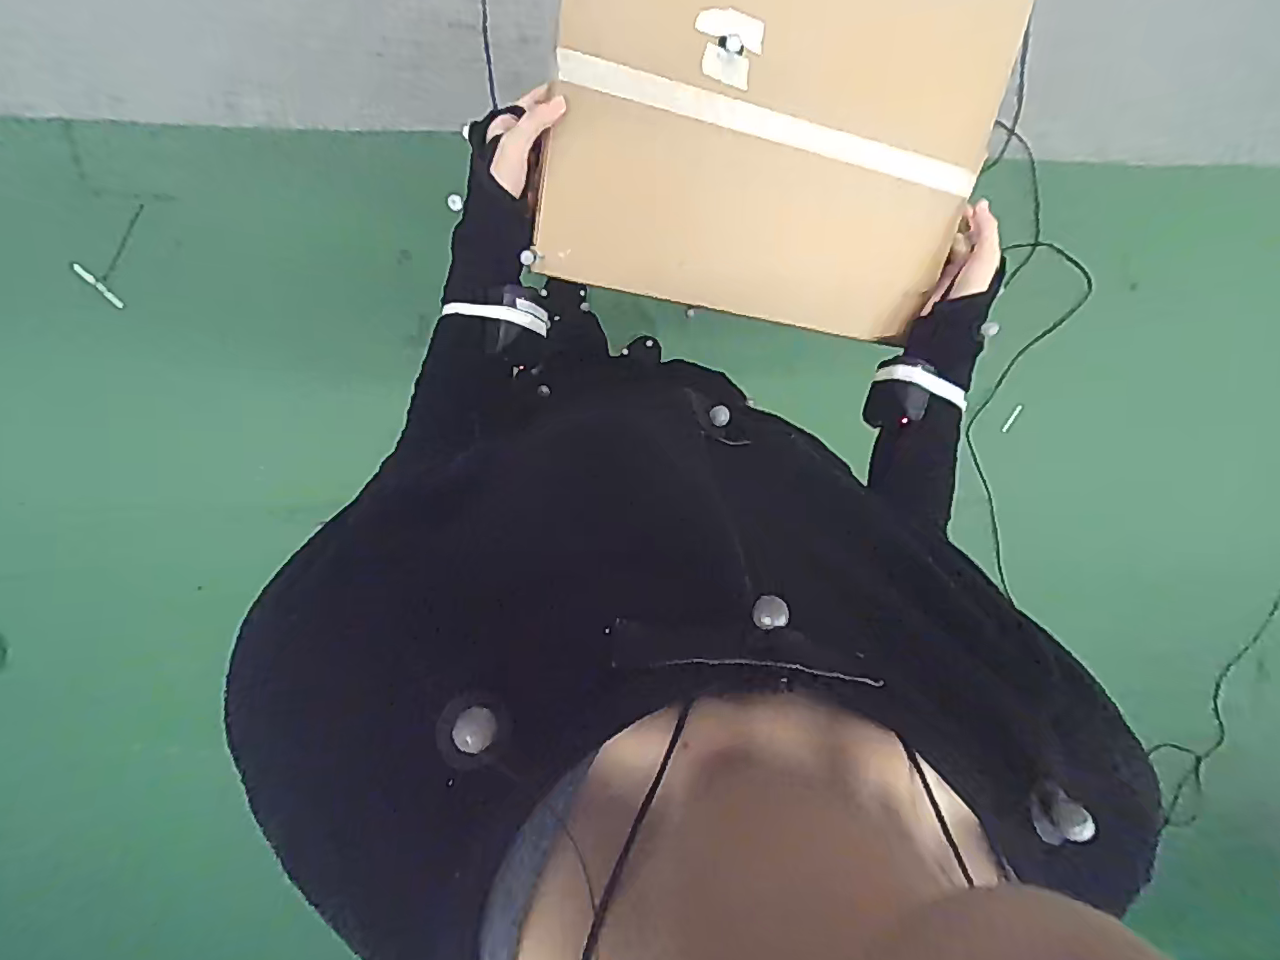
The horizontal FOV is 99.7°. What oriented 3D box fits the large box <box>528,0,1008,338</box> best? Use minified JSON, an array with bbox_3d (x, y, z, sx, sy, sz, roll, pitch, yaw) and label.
[{"bbox_3d":[0.090,-0.370,0.628,0.408,0.320,0.320,6,110,-14],"label":"large box"}]
